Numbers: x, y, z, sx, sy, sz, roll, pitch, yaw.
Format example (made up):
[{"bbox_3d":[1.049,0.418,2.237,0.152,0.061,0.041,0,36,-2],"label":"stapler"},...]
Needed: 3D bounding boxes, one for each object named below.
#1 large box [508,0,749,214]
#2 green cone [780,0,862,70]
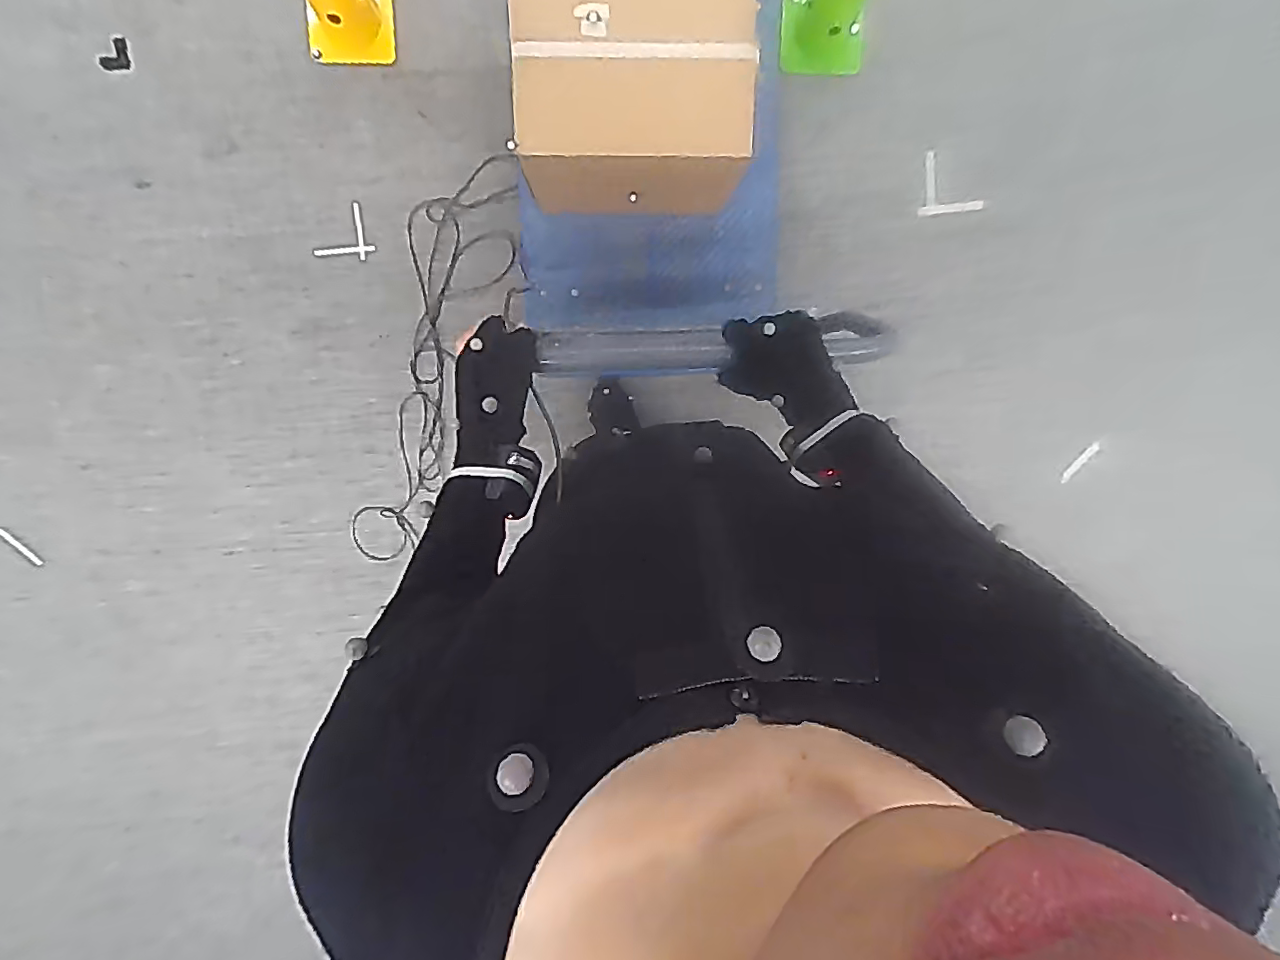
[{"bbox_3d":[-0.016,-0.724,1.047,0.408,0.320,0.320,-1,99,-1],"label":"large box"},{"bbox_3d":[0.451,-1.089,1.151,0.202,0.368,0.200,0,99,-3],"label":"green cone"}]
